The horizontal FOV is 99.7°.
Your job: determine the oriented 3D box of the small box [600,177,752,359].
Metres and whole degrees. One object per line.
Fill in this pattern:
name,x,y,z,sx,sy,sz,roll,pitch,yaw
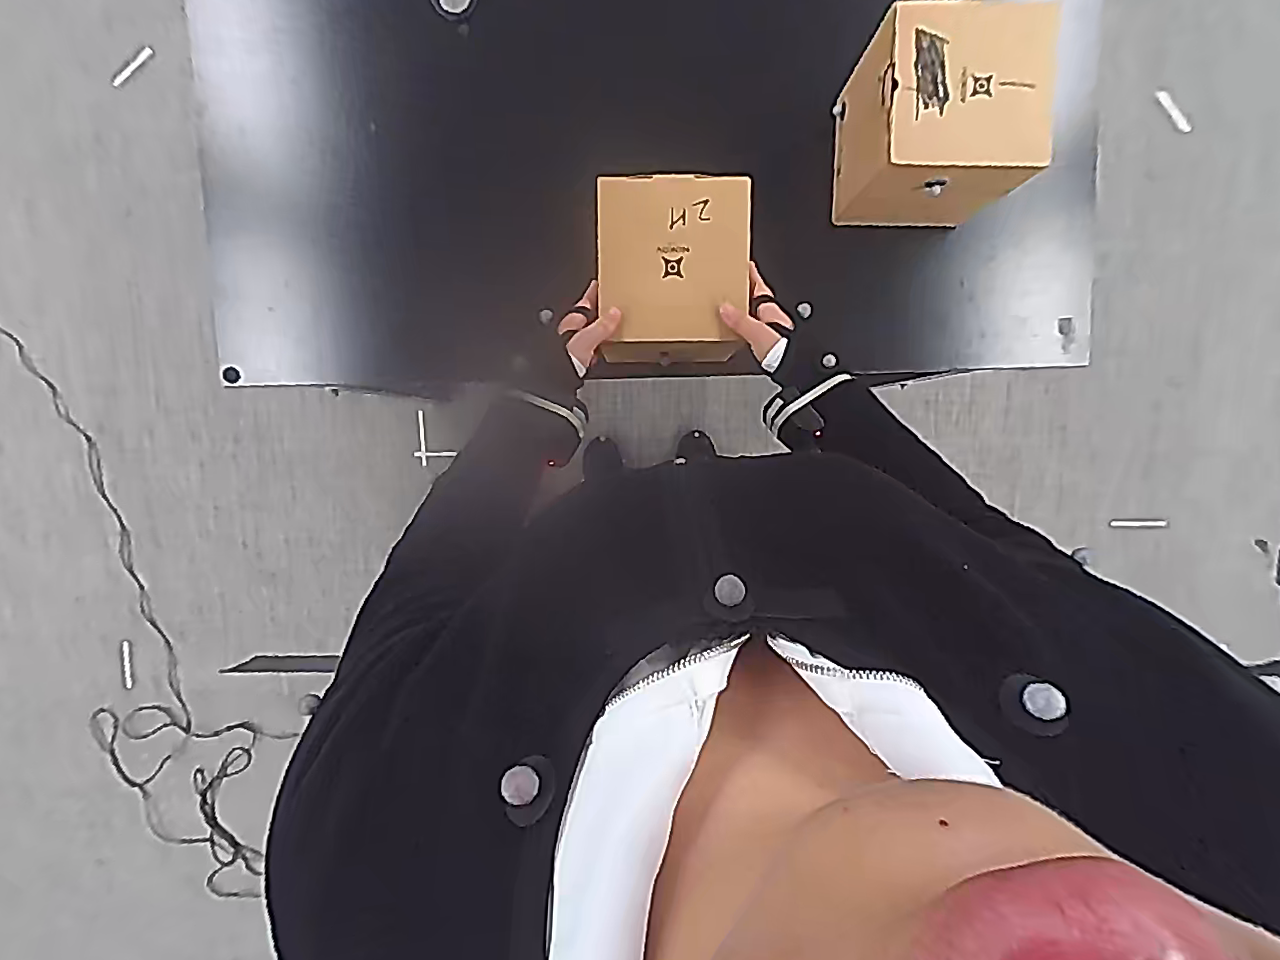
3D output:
small box,0.039,-0.248,0.672,0.168,0.176,0.179,0,95,-1

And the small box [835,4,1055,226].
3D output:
small box,0.351,-0.425,0.657,0.179,0.176,0.168,1,95,0
